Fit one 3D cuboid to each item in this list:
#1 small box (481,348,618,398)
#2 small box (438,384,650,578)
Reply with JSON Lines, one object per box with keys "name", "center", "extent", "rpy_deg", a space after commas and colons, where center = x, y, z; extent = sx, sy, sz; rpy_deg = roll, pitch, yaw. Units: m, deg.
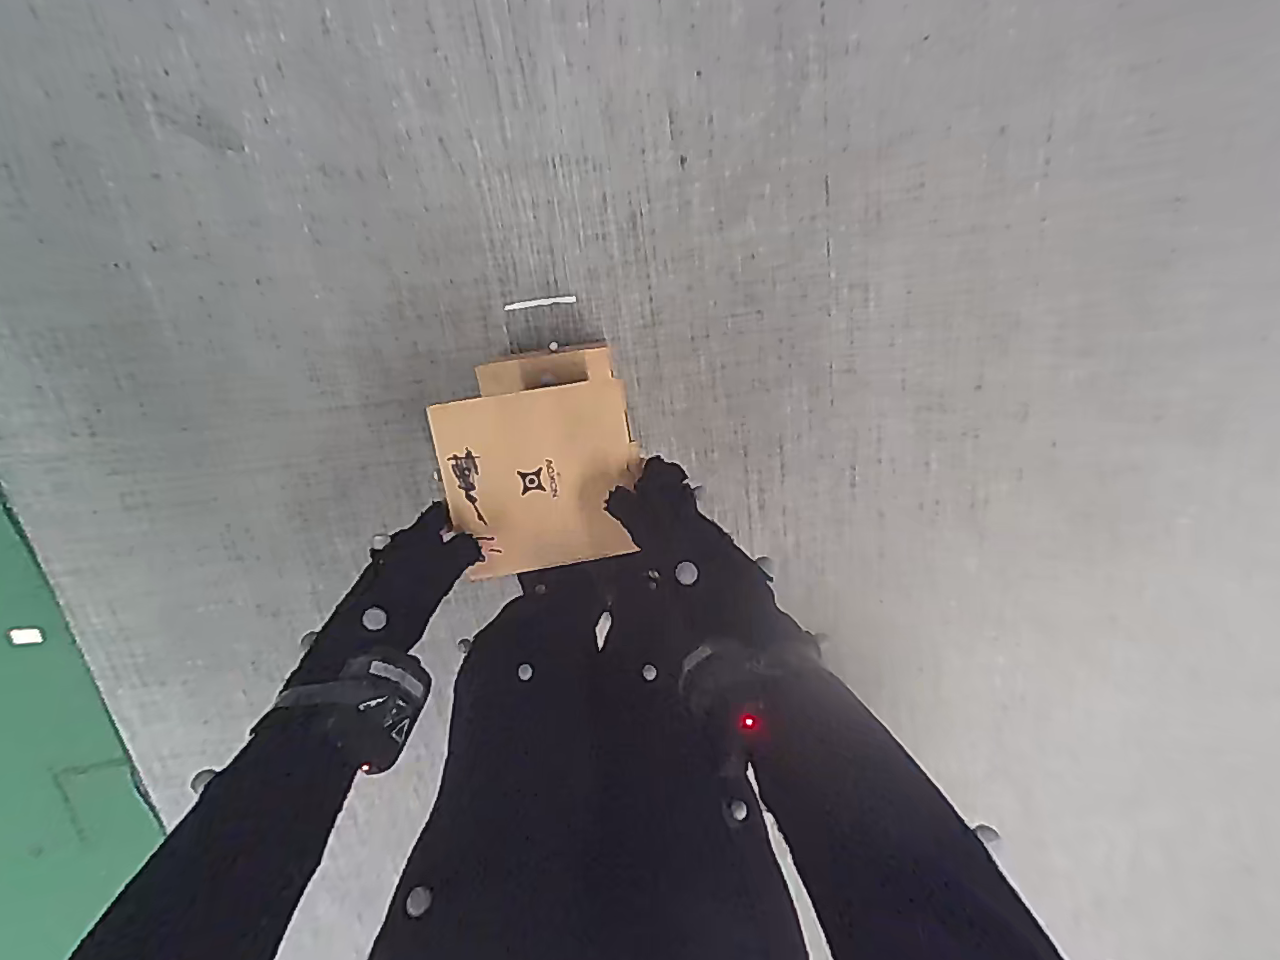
{"name": "small box", "center": [-0.116, -0.099, 0.797], "extent": [0.179, 0.176, 0.168], "rpy_deg": [-8, 107, 0]}
{"name": "small box", "center": [-0.093, -0.012, 0.578], "extent": [0.179, 0.176, 0.168], "rpy_deg": [-9, 99, -4]}
